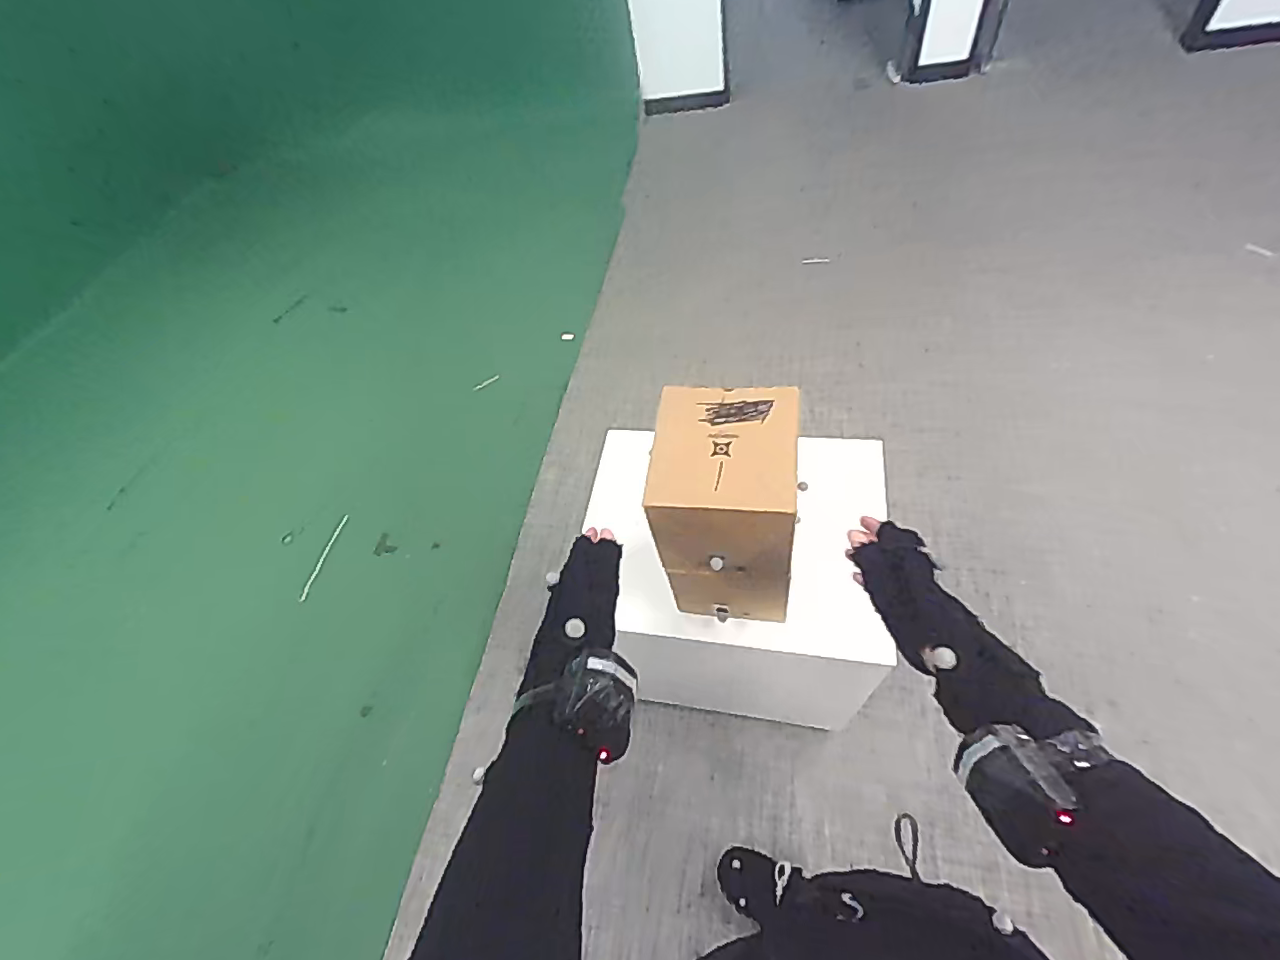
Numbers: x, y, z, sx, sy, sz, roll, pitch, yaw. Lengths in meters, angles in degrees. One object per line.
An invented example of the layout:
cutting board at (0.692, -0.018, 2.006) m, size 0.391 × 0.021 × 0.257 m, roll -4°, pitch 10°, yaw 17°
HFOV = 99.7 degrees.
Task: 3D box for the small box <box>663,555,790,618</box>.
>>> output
small box at (0.137, 0.089, 0.805) m, size 0.168 × 0.176 × 0.179 m, roll 1°, pitch 59°, yaw 15°

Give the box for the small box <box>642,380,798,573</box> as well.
small box at (0.105, -0.003, 0.673) m, size 0.168 × 0.176 × 0.179 m, roll 0°, pitch 56°, yaw 13°
